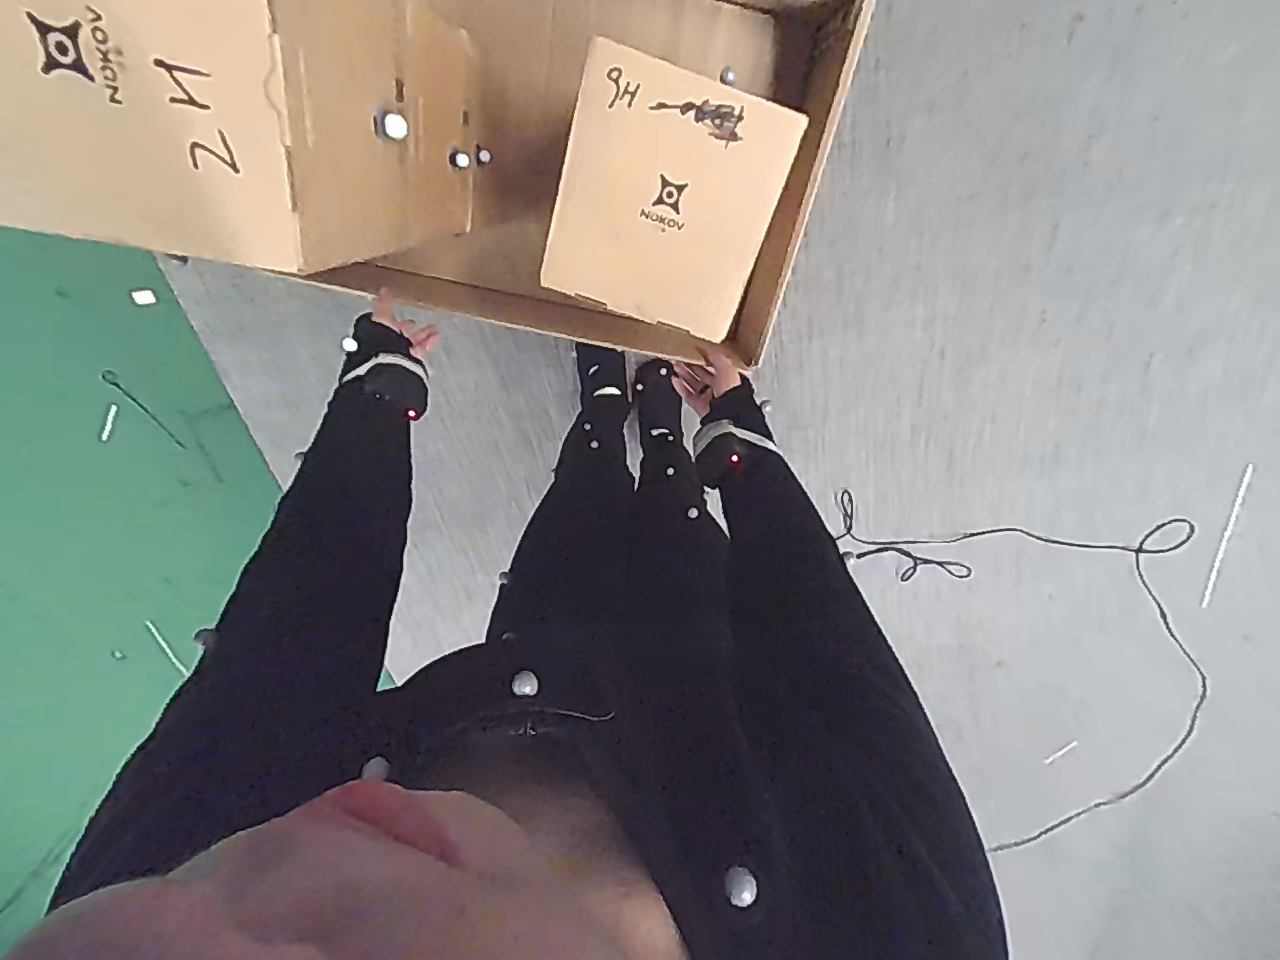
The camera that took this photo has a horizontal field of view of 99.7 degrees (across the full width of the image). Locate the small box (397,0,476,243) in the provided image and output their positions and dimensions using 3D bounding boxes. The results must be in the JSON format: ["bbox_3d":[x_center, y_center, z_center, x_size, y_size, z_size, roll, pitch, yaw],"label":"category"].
[{"bbox_3d":[-0.253,-0.313,0.464,0.179,0.176,0.168,9,118,-6],"label":"small box"}]

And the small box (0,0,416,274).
[{"bbox_3d":[-0.251,-0.232,0.320,0.179,0.176,0.168,9,118,-6],"label":"small box"}]

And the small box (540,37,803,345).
[{"bbox_3d":[0.020,-0.251,0.494,0.168,0.176,0.179,16,117,-9],"label":"small box"}]
